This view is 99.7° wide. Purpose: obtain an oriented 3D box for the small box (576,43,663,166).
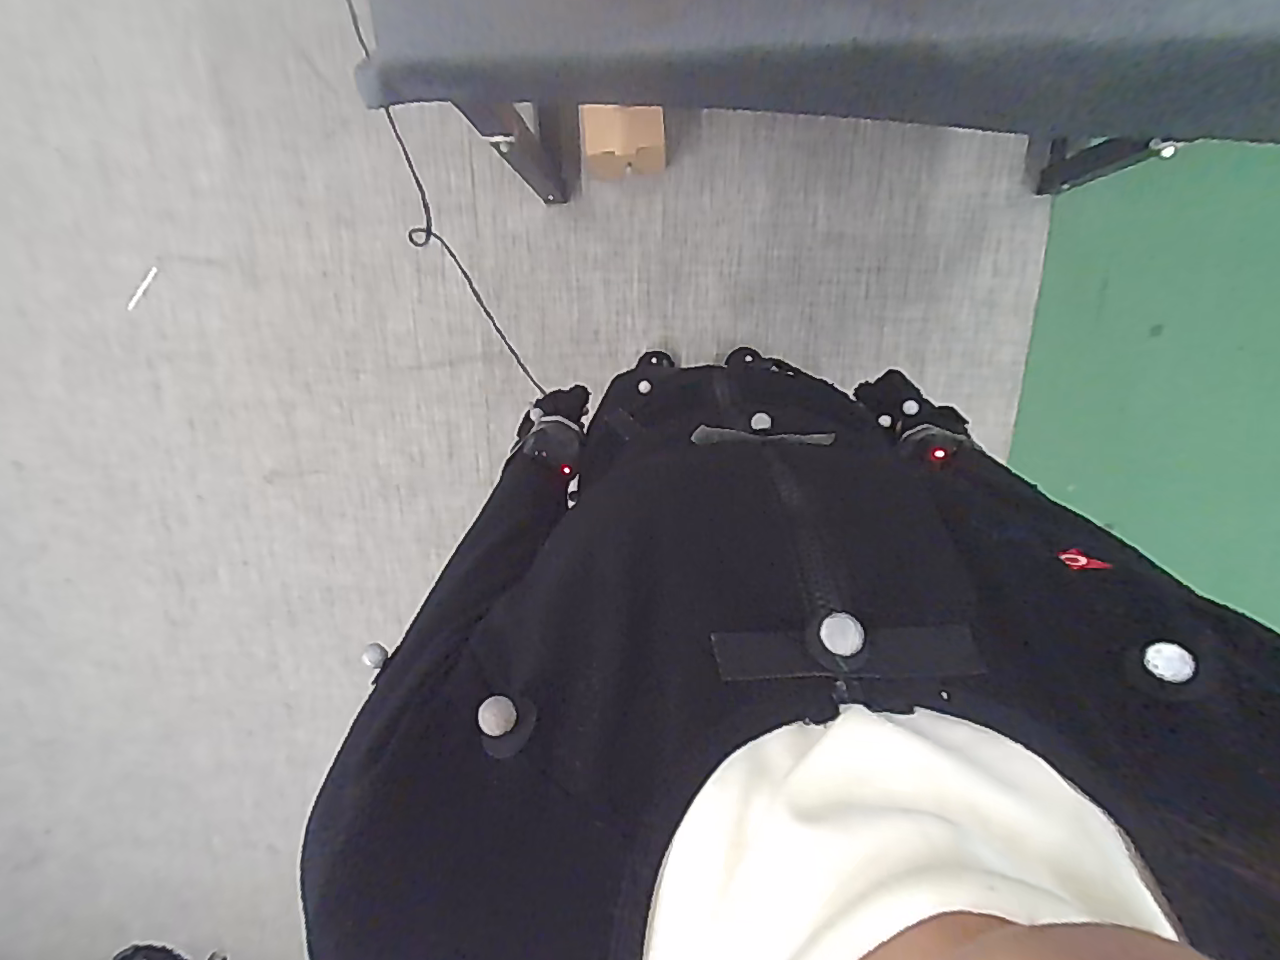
[{"bbox_3d":[-0.036,-0.794,1.165,0.168,0.176,0.179,-4,105,3],"label":"small box"}]
